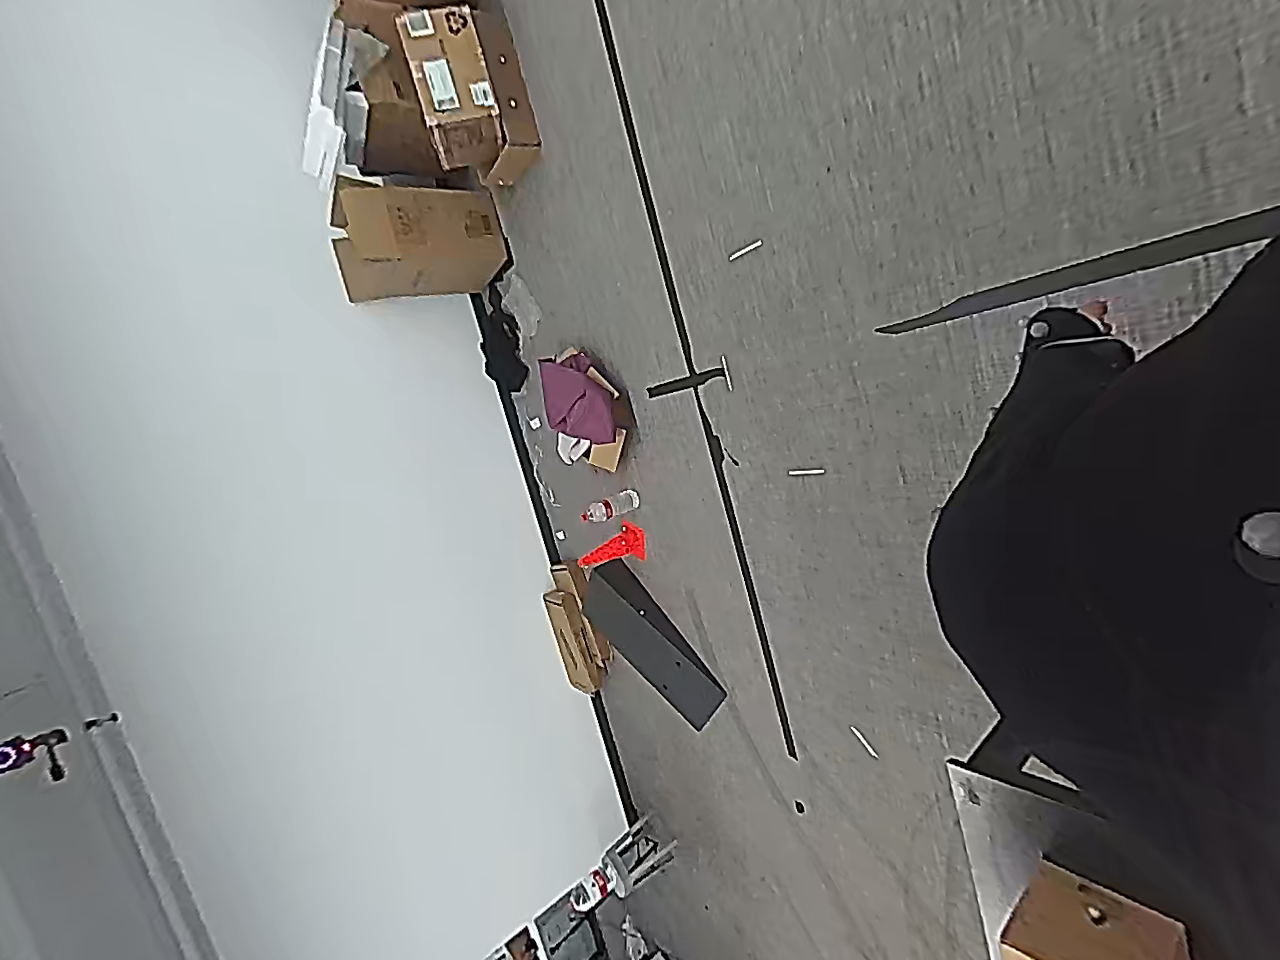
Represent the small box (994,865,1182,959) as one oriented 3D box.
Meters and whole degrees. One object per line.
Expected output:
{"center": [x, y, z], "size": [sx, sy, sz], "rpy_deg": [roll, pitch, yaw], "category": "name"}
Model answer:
{"center": [0.632, 0.705, 0.756], "size": [0.168, 0.176, 0.179], "rpy_deg": [-2, 105, 55], "category": "small box"}
